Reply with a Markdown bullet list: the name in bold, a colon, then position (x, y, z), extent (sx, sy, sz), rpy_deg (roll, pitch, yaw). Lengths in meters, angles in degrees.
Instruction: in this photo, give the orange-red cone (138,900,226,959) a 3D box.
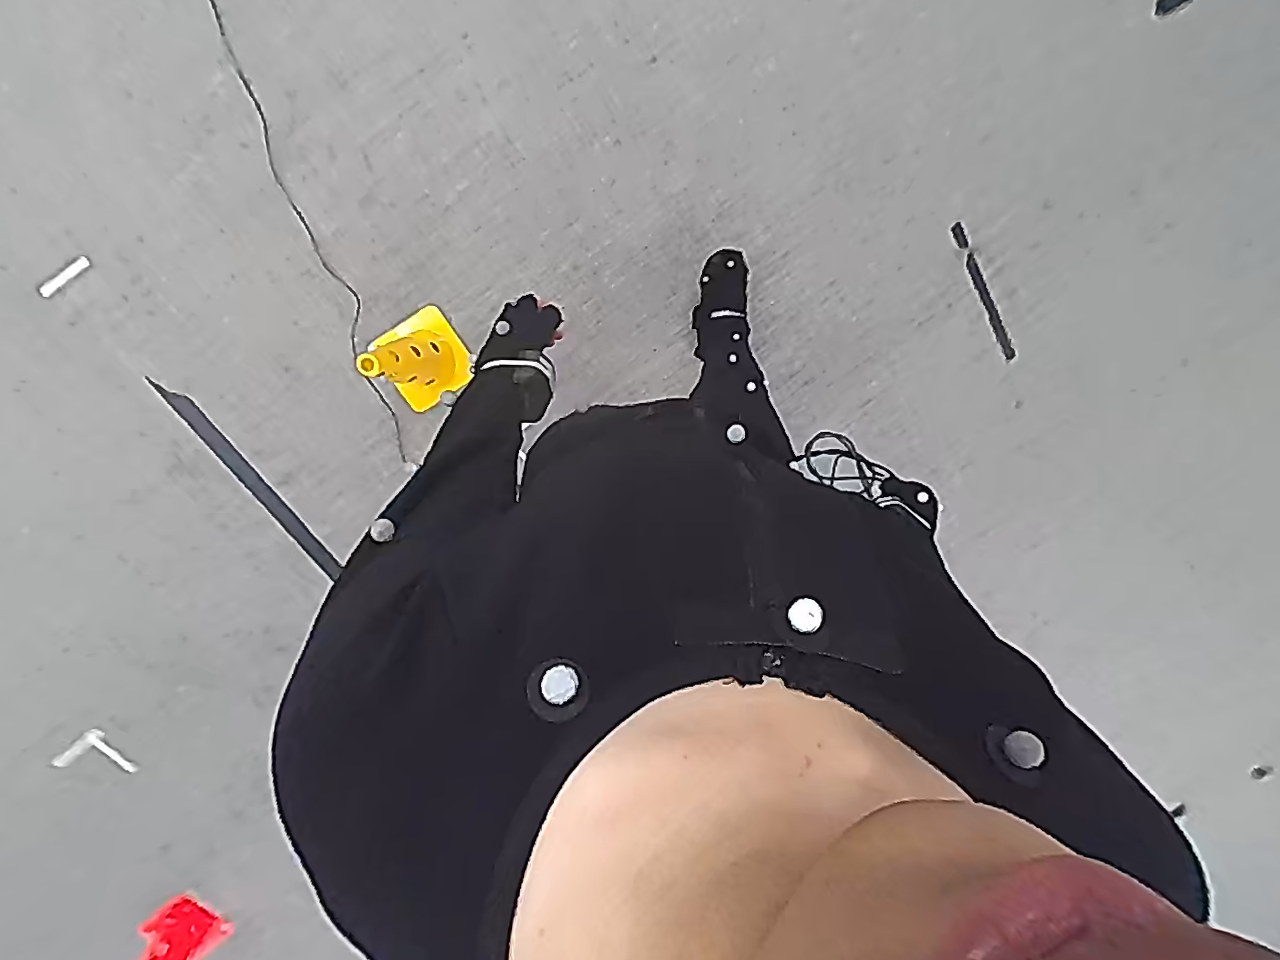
- **orange-red cone**: position (-1.399, 1.439, 1.506), extent (0.198, 0.360, 0.199), rpy_deg (-38, 105, 5)
